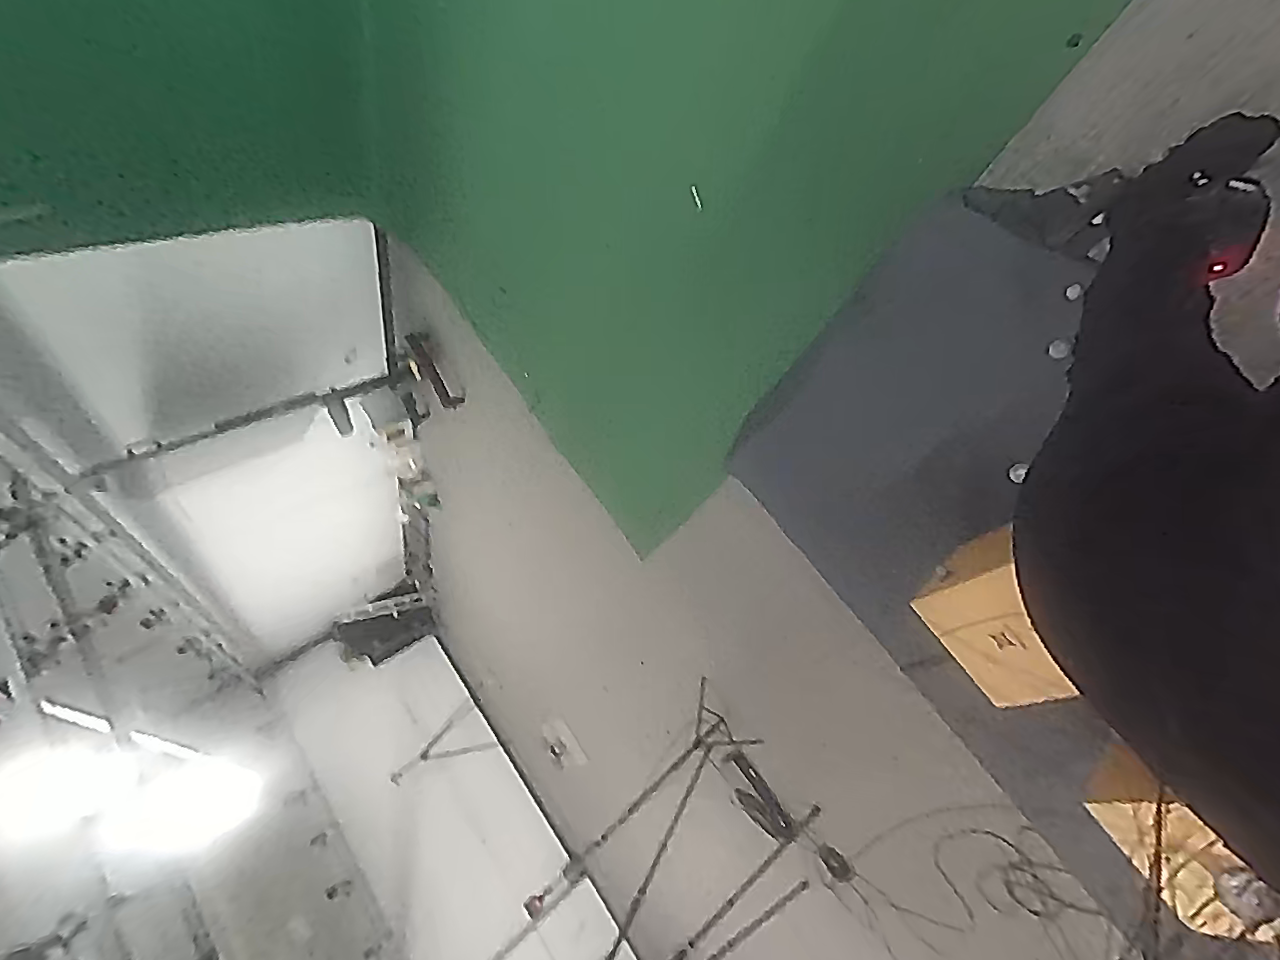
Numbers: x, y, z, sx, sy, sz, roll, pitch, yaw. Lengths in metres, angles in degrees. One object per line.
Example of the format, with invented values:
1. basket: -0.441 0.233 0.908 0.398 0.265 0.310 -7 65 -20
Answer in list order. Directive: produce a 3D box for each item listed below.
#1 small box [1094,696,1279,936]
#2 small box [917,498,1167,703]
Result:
1. small box: 0.693 0.378 0.622 0.168 0.176 0.179 52 145 13
2. small box: 0.510 0.153 0.693 0.168 0.176 0.179 52 145 13
